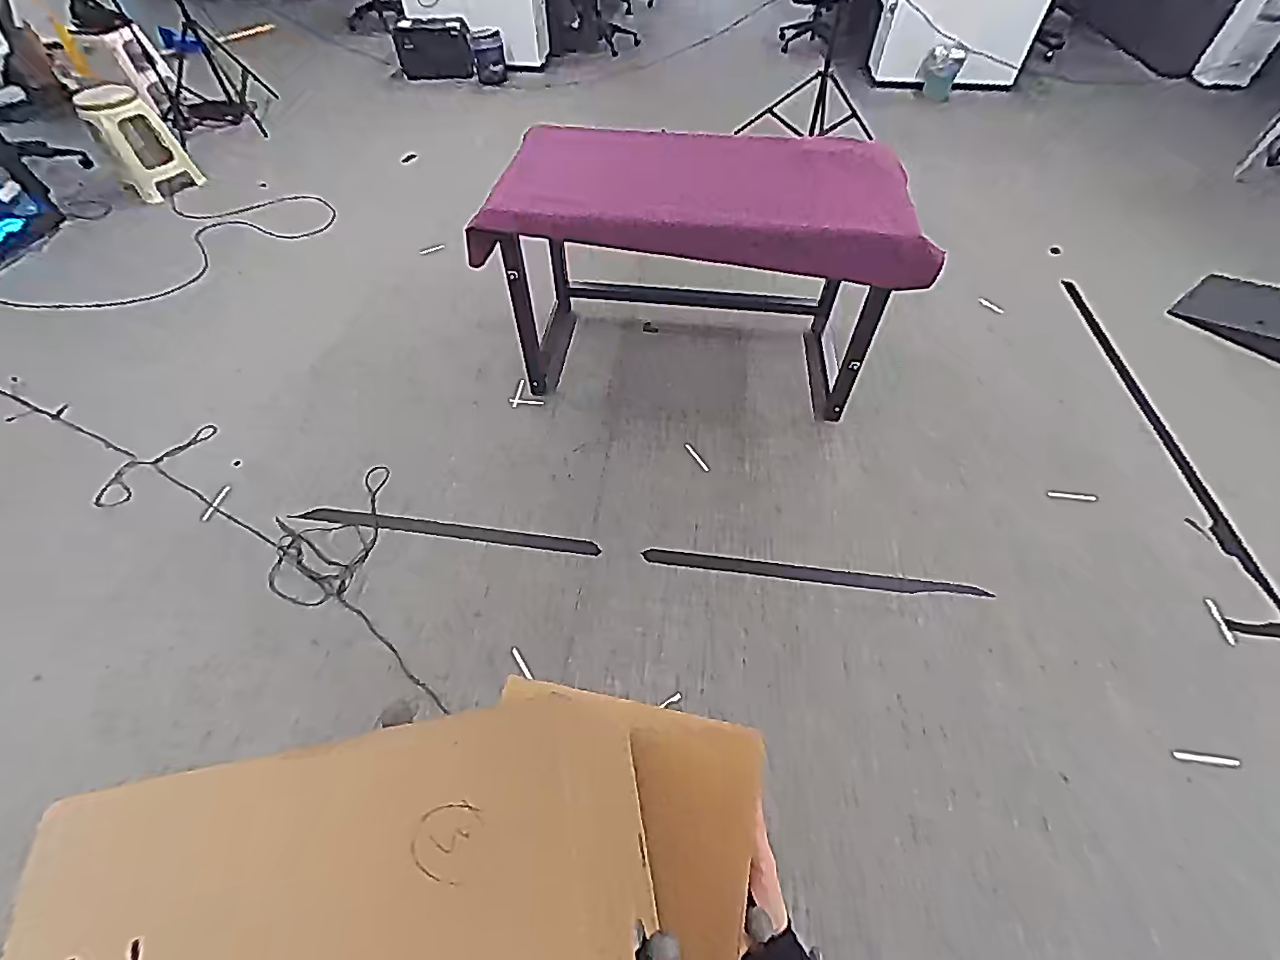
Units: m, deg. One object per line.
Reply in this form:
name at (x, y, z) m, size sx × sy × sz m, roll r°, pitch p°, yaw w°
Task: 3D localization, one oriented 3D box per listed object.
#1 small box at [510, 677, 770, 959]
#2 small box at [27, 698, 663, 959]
small box at (-0.013, 0.254, 0.366) m, size 0.168 × 0.176 × 0.179 m, roll 8°, pitch 61°, yaw 11°
small box at (-0.083, 0.197, 0.209) m, size 0.179 × 0.176 × 0.168 m, roll -12°, pitch 57°, yaw 2°
